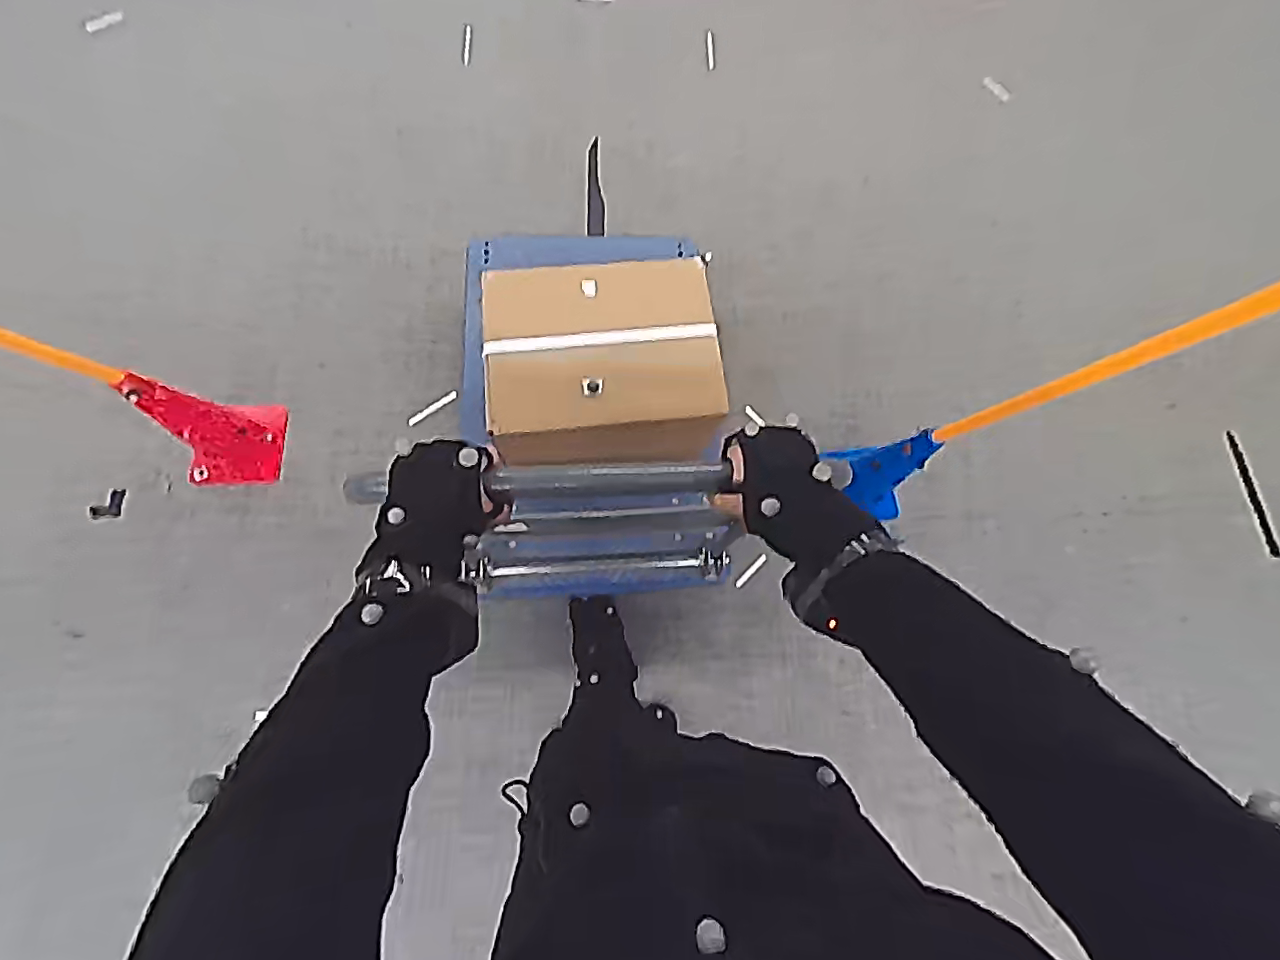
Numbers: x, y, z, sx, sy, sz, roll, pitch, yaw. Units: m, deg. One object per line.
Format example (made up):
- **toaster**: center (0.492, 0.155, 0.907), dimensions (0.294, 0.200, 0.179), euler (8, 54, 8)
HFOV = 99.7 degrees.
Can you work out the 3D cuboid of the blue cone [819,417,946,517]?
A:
- **blue cone**: center (0.585, -0.047, 1.256), dimensions (0.193, 0.380, 0.192), euler (-4, 73, -6)
